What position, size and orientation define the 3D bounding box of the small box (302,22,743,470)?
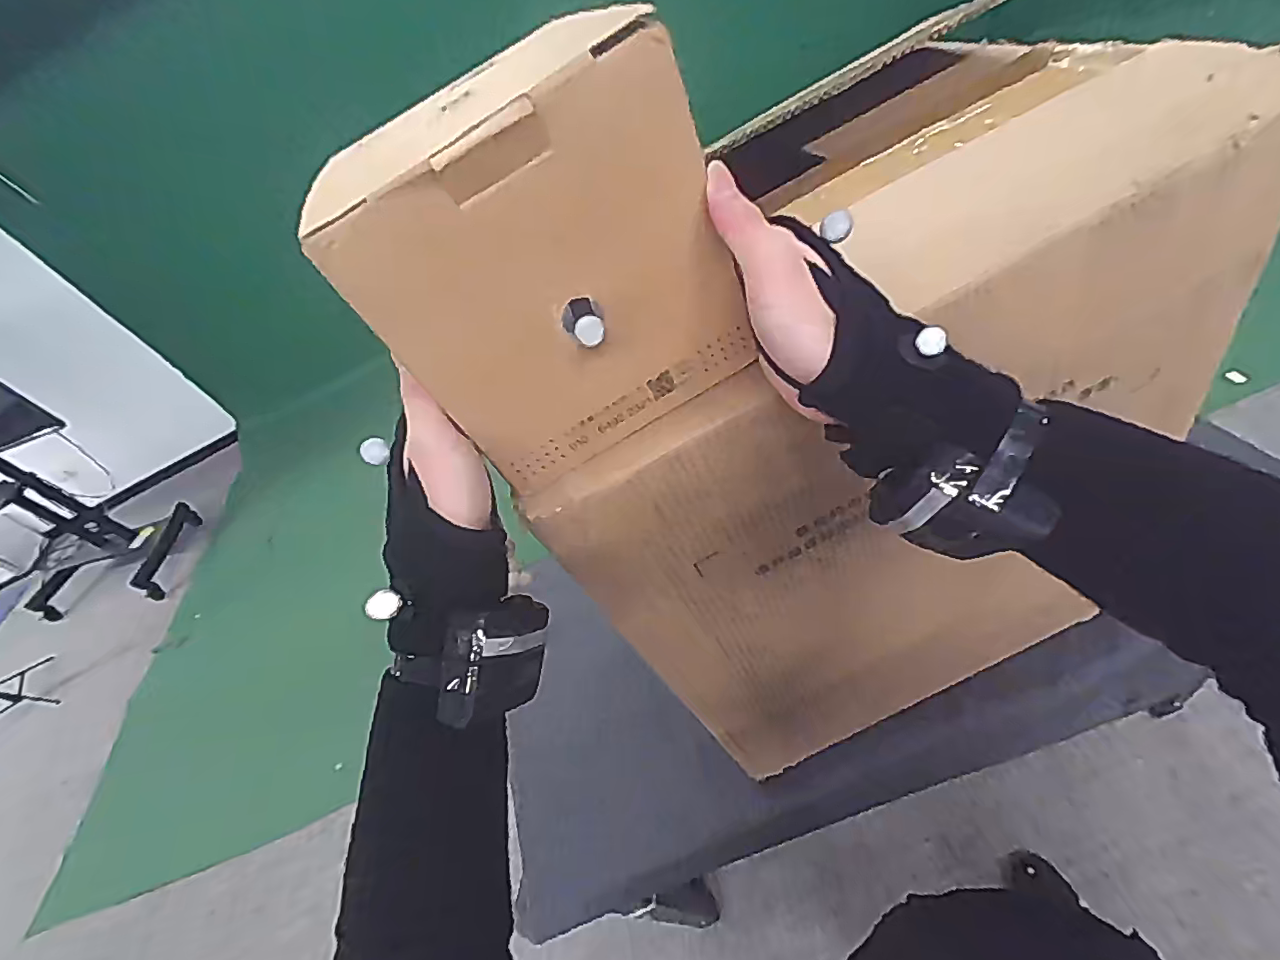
[{"bbox_3d":[-0.059,-0.129,0.323,0.168,0.176,0.179,-29,44,1],"label":"small box"}]
